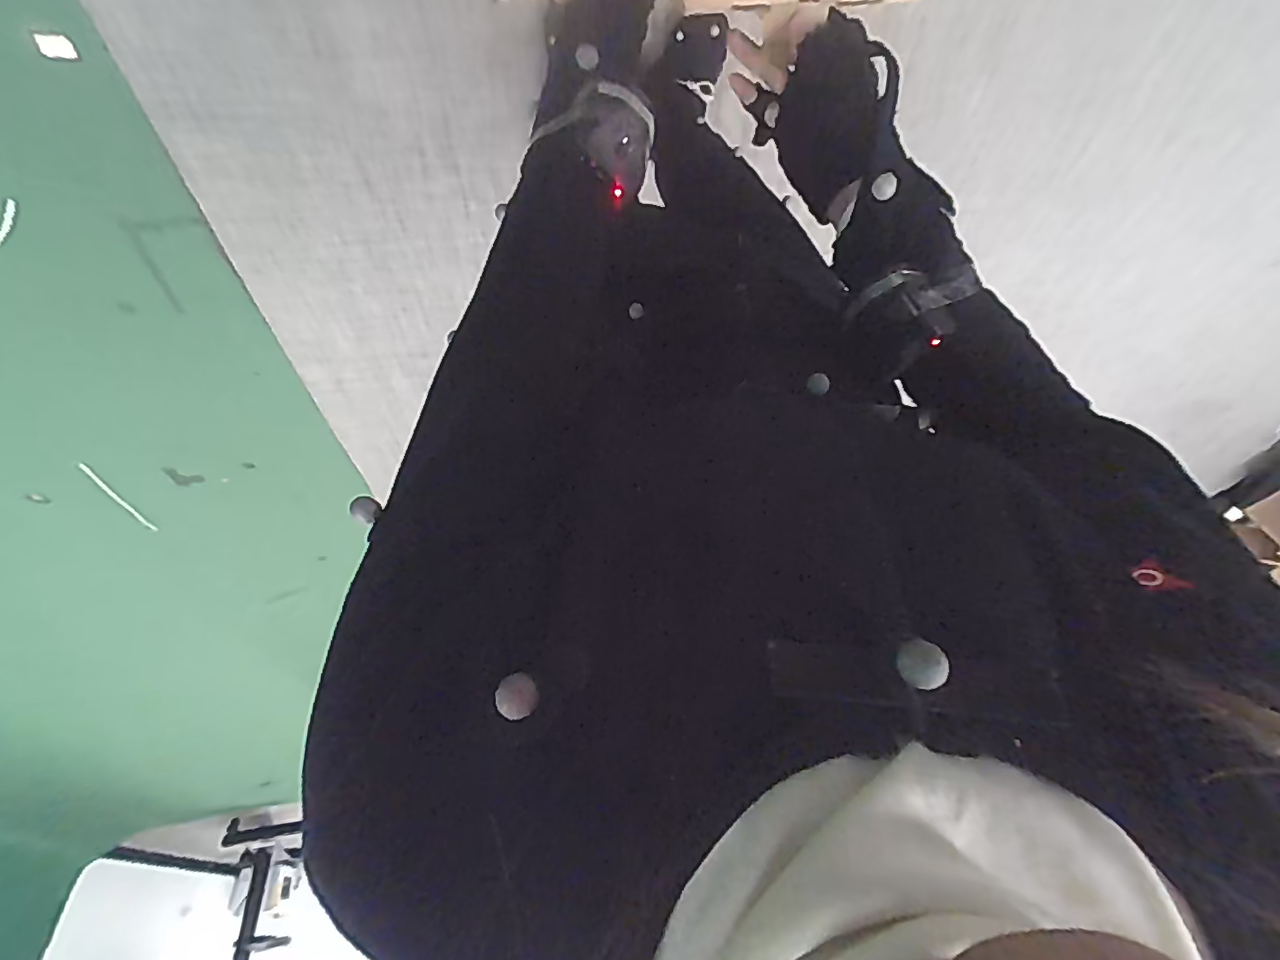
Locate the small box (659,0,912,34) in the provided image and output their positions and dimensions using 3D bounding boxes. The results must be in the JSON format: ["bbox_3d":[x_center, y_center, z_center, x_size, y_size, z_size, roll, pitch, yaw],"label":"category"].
[{"bbox_3d":[0.087,-0.413,0.331,0.168,0.176,0.179,-8,145,-5],"label":"small box"}]
